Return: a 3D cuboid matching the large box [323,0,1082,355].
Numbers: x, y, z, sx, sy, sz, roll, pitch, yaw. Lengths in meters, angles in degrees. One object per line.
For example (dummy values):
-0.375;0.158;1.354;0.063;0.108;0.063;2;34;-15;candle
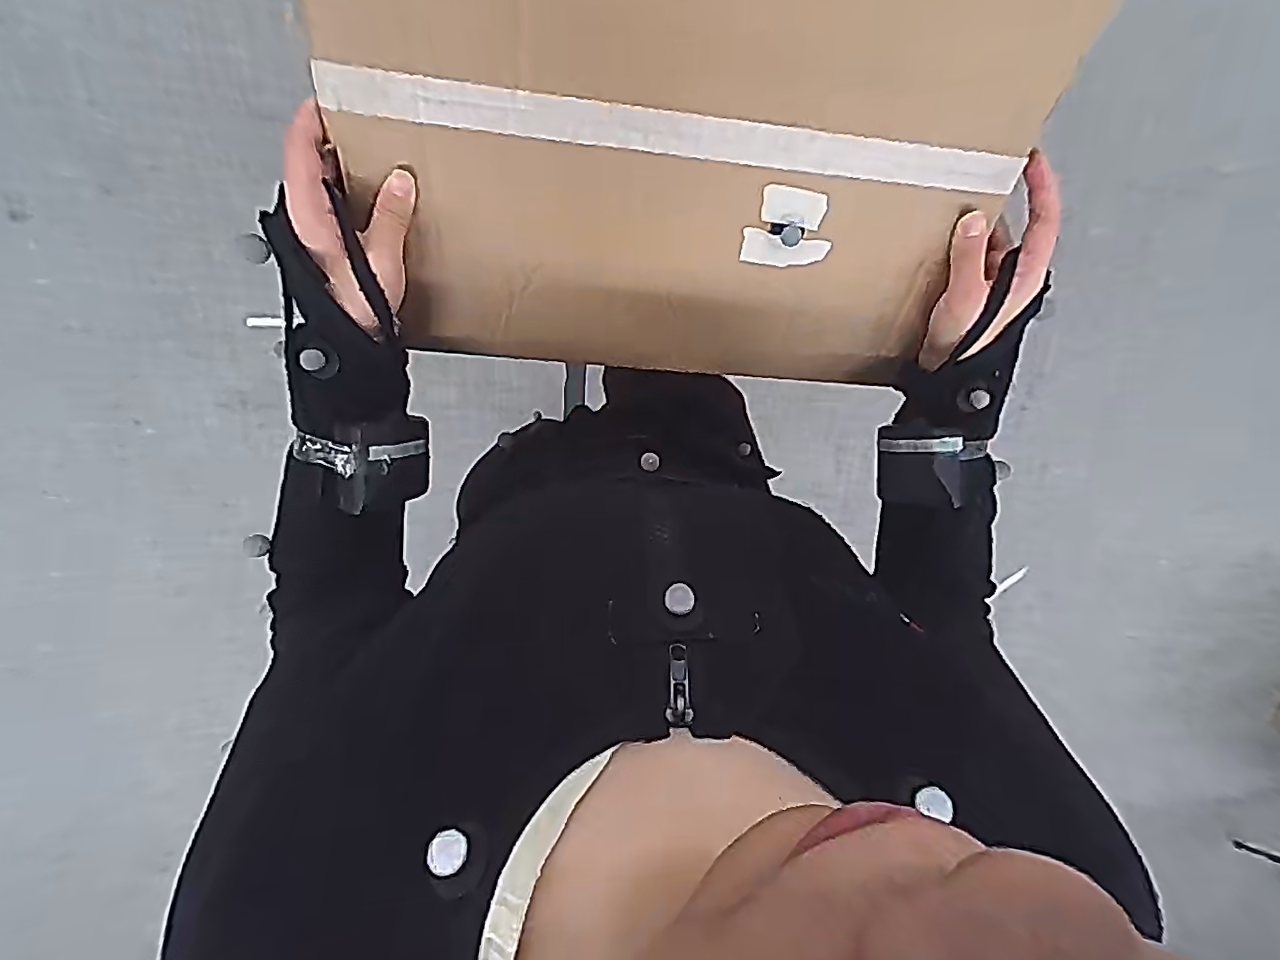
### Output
0.021;-0.318;0.420;0.408;0.320;0.320;2;134;-8;large box
